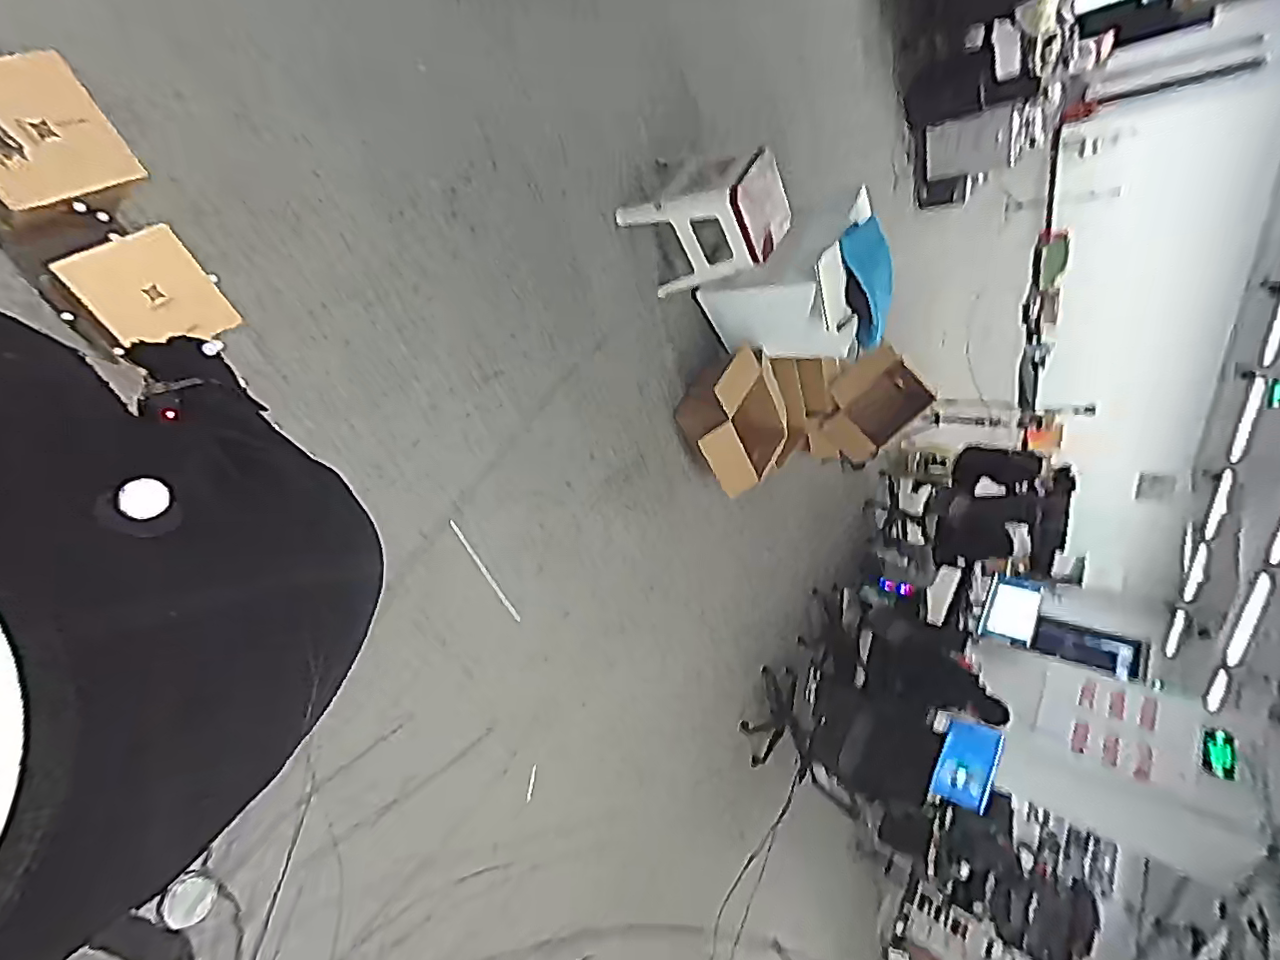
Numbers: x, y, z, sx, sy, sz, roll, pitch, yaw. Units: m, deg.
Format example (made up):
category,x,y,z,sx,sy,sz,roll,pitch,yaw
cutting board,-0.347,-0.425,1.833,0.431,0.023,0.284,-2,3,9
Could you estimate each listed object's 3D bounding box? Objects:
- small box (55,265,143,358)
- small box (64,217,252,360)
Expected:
category,x,y,z,sx,sy,sz,roll,pitch,yaw
small box,-0.948,-0.347,1.026,0.179,0.176,0.168,-46,129,-31
small box,-0.823,-0.320,0.924,0.168,0.176,0.179,-47,131,-30
